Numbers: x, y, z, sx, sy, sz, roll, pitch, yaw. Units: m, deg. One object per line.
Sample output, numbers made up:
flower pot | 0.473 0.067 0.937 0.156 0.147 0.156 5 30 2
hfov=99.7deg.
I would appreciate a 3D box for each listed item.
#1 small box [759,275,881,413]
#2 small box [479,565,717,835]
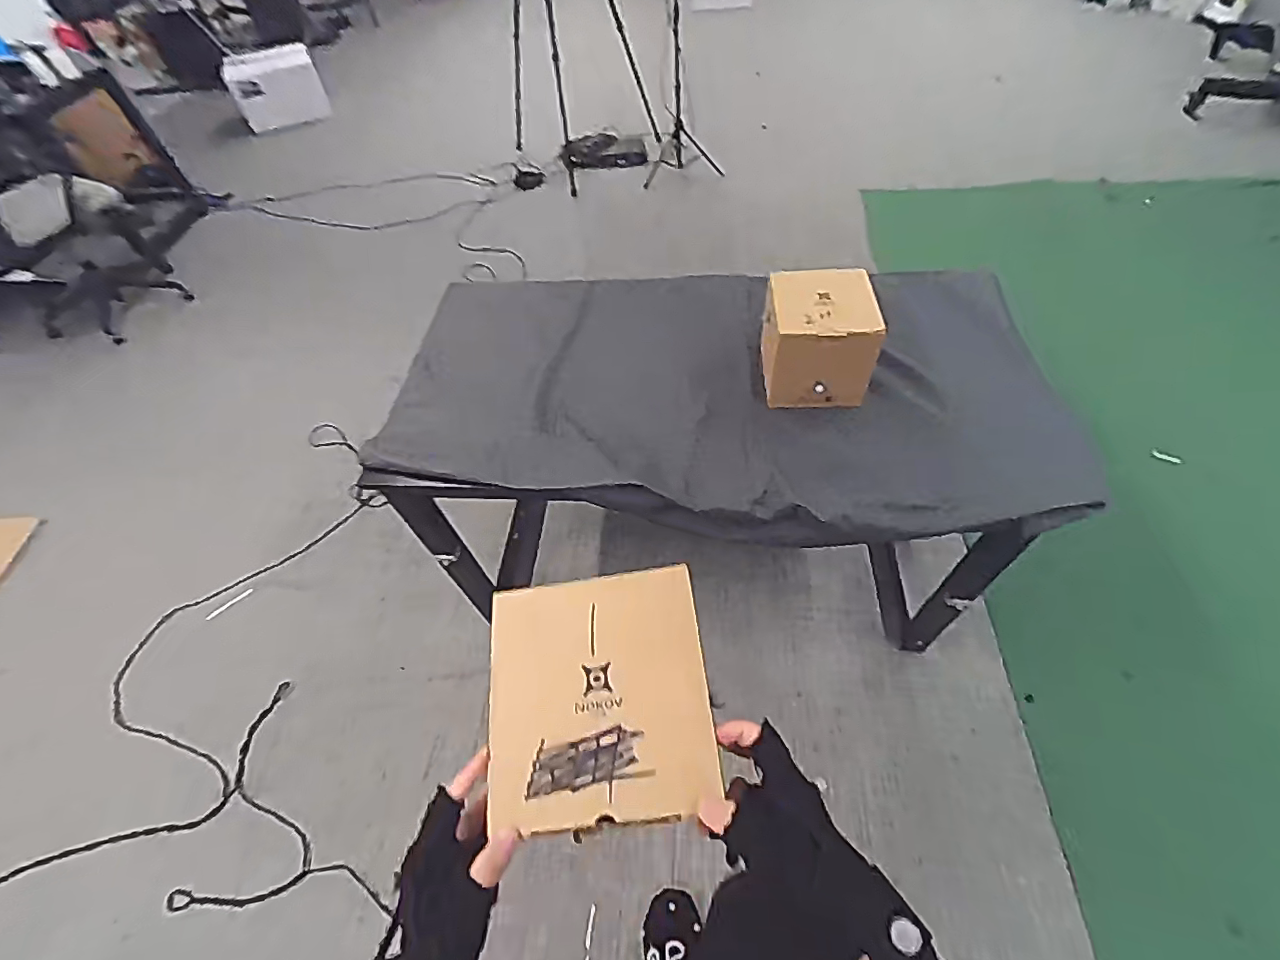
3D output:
small box | 0.307 -0.241 0.964 0.168 0.176 0.179 0 53 6
small box | -0.026 0.192 0.472 0.168 0.176 0.179 -8 60 4
